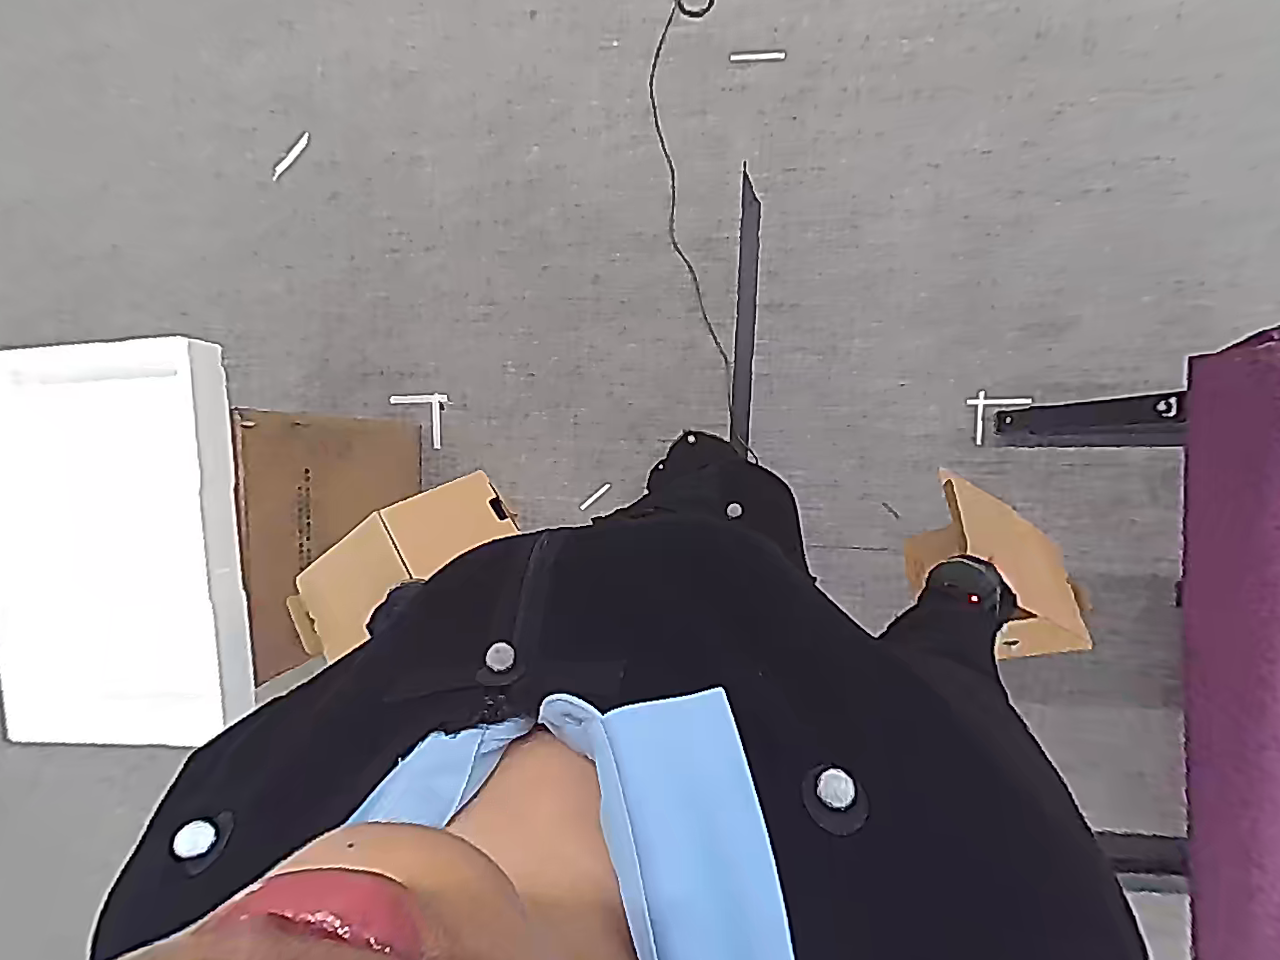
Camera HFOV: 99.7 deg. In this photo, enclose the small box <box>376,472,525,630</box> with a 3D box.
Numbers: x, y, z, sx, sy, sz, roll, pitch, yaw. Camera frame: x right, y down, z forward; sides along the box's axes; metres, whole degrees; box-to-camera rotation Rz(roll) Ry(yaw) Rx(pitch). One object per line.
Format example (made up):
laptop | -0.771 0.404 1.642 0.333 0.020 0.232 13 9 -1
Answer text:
small box | -0.305 0.122 0.894 0.179 0.176 0.168 -25 67 -28
